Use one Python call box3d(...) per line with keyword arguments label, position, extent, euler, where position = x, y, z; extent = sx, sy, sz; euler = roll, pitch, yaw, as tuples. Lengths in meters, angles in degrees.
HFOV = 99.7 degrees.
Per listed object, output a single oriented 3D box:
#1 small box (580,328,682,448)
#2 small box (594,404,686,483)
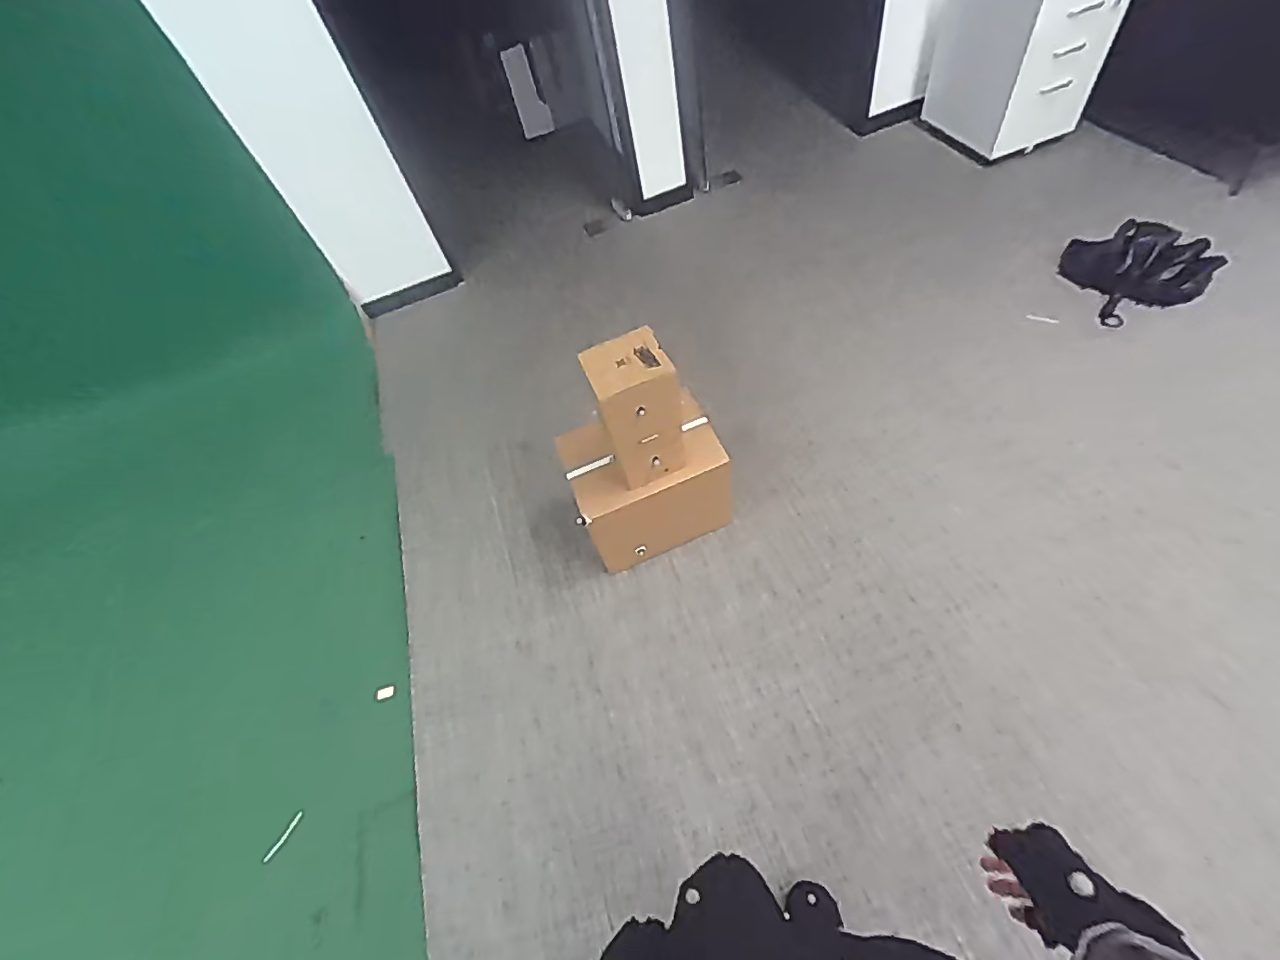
box3d(label="small box", position=(-0.013, -0.204, 1.220), extent=(0.179, 0.176, 0.168), euler=(-24, 54, -6))
box3d(label="small box", position=(0.005, -0.113, 1.356), extent=(0.168, 0.176, 0.179), euler=(-24, 55, -5))
